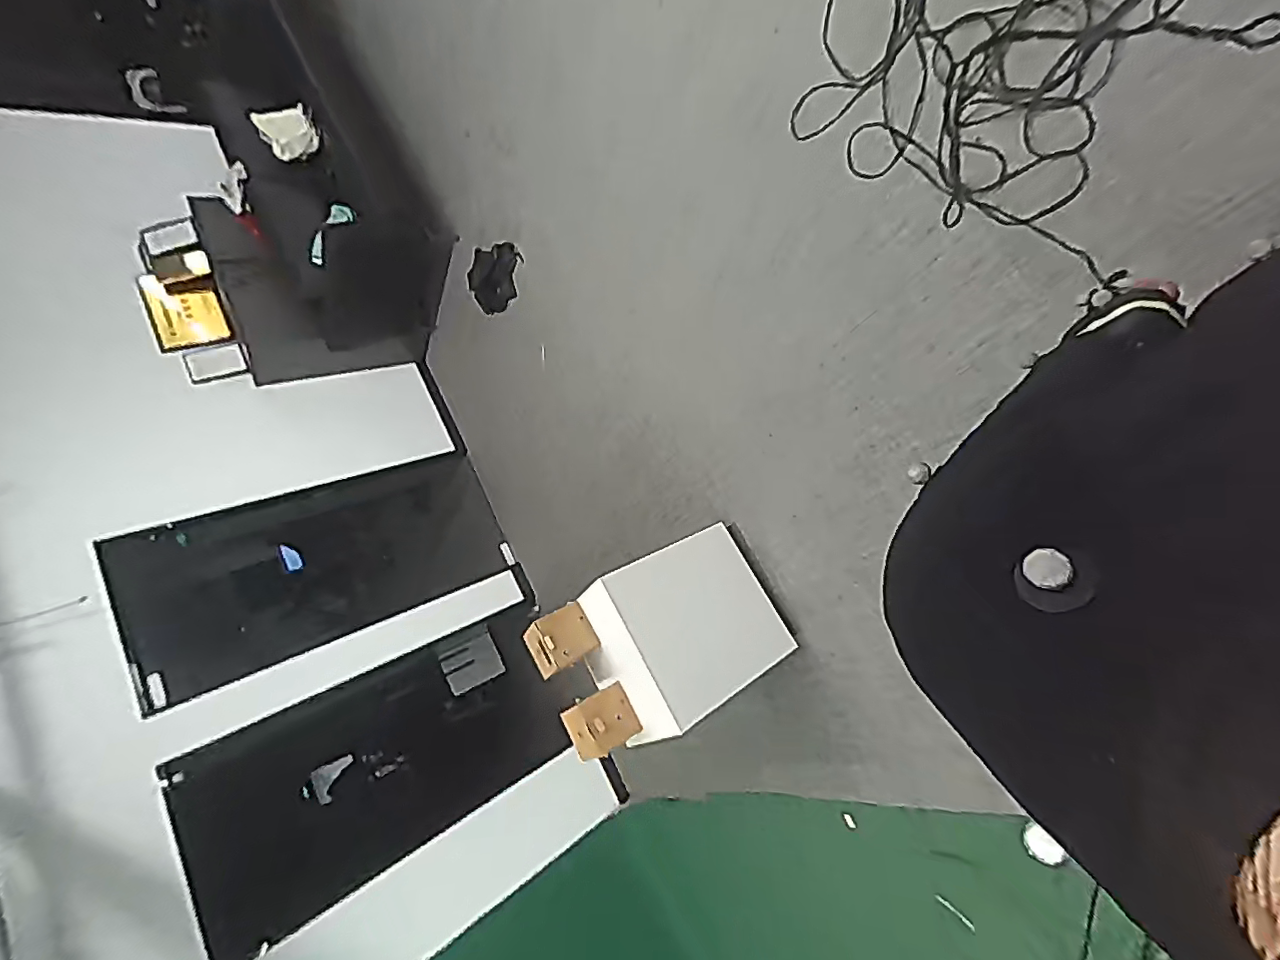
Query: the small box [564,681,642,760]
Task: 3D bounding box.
[{"bbox_3d":[-0.119,0.779,1.753,0.168,0.176,0.179,61,142,16],"label":"small box"}]
